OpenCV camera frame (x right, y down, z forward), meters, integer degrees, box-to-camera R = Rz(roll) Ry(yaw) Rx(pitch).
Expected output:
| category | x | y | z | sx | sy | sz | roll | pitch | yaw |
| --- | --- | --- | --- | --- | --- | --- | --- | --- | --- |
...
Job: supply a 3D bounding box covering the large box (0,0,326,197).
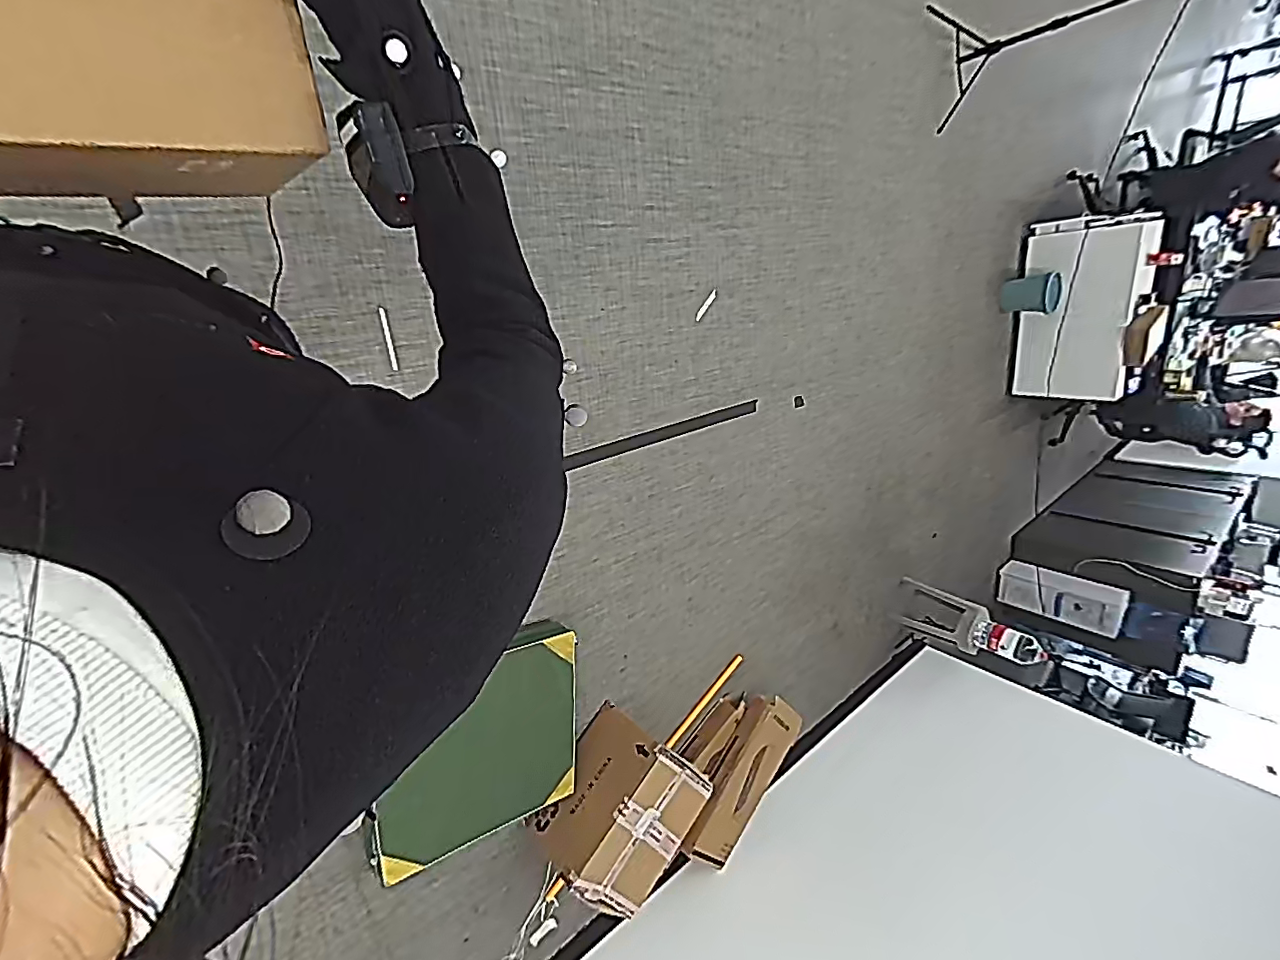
| category | x | y | z | sx | sy | sz | roll | pitch | yaw |
| --- | --- | --- | --- | --- | --- | --- | --- | --- | --- |
| large box | -0.478 | -0.350 | 0.315 | 0.408 | 0.320 | 0.320 | -22 | 121 | -34 |
